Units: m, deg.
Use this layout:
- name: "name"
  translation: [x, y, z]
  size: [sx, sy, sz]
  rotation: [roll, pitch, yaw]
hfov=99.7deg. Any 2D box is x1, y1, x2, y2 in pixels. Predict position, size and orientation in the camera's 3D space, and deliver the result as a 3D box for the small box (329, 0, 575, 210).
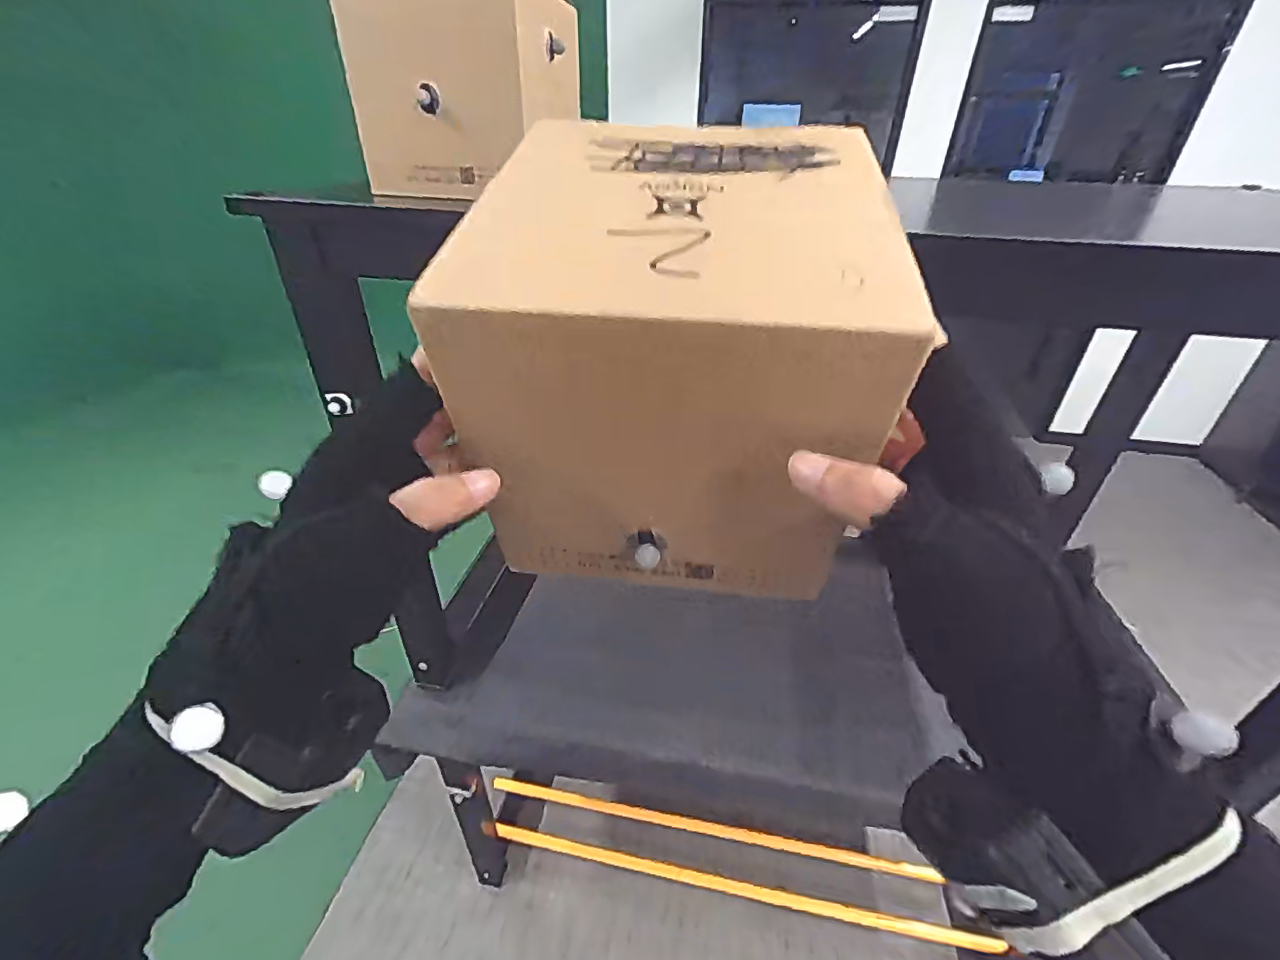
- name: "small box"
  translation: [-0.166, -0.377, 0.549]
  size: [0.168, 0.176, 0.179]
  rotation: [7, 33, 8]
